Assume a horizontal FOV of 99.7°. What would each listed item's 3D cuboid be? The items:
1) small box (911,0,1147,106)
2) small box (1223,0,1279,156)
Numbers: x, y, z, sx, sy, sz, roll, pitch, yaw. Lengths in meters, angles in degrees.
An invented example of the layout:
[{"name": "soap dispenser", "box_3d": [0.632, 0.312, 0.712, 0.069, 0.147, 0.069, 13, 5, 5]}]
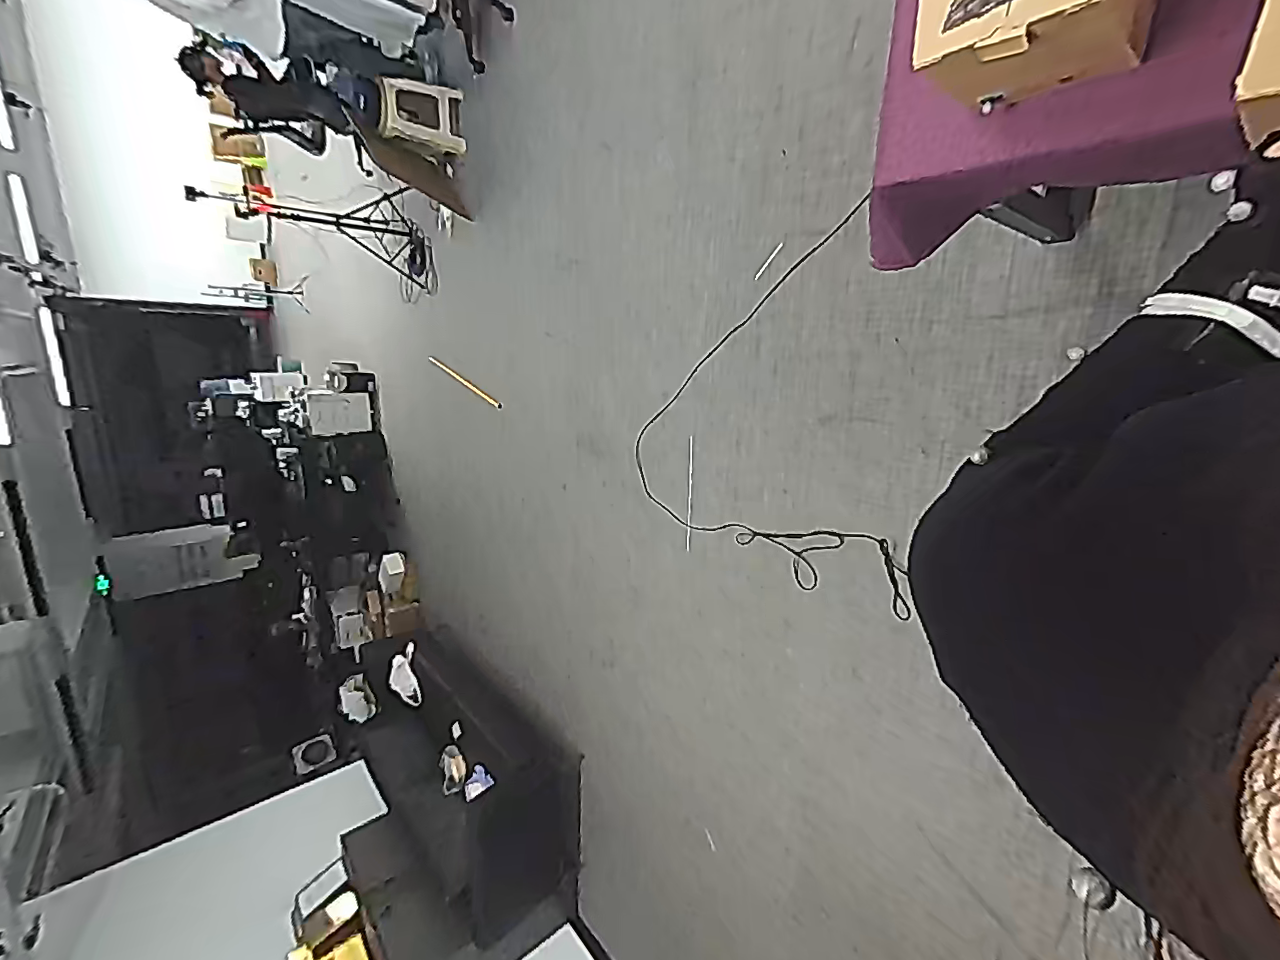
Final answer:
[{"name": "small box", "box_3d": [0.408, -0.519, 0.557, 0.168, 0.176, 0.179, 16, 108, 47]}, {"name": "small box", "box_3d": [0.572, -0.351, 0.383, 0.168, 0.176, 0.179, 25, 112, 48]}]
